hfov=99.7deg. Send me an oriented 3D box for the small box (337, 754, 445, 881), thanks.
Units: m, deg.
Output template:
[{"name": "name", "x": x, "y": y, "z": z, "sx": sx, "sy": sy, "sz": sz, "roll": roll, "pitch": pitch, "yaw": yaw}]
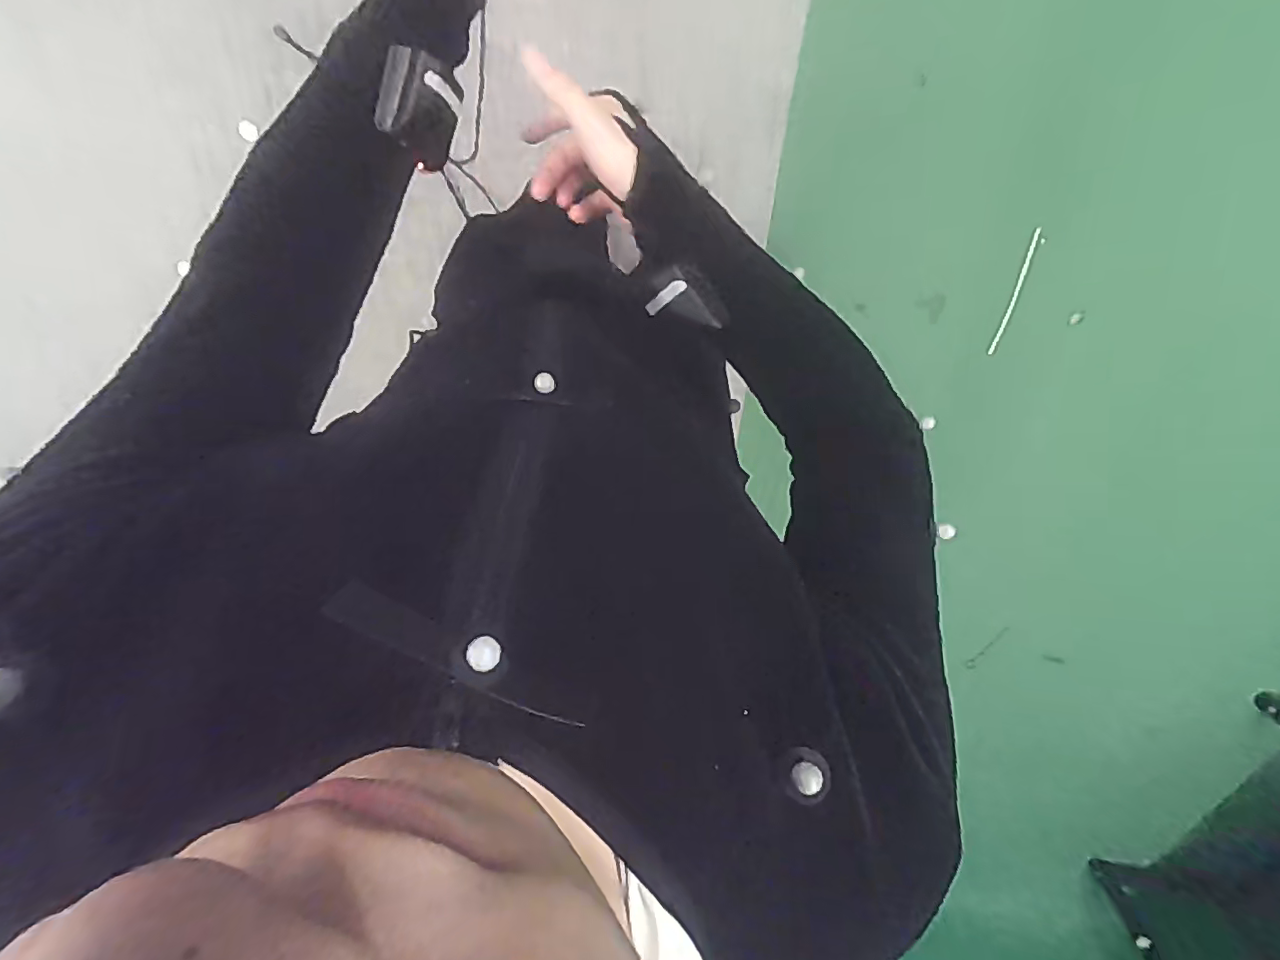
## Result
[{"name": "small box", "x": -0.550, "y": 0.757, "z": 1.219, "sx": 0.168, "sy": 0.176, "sz": 0.179, "roll": 10, "pitch": 118, "yaw": -1}]
